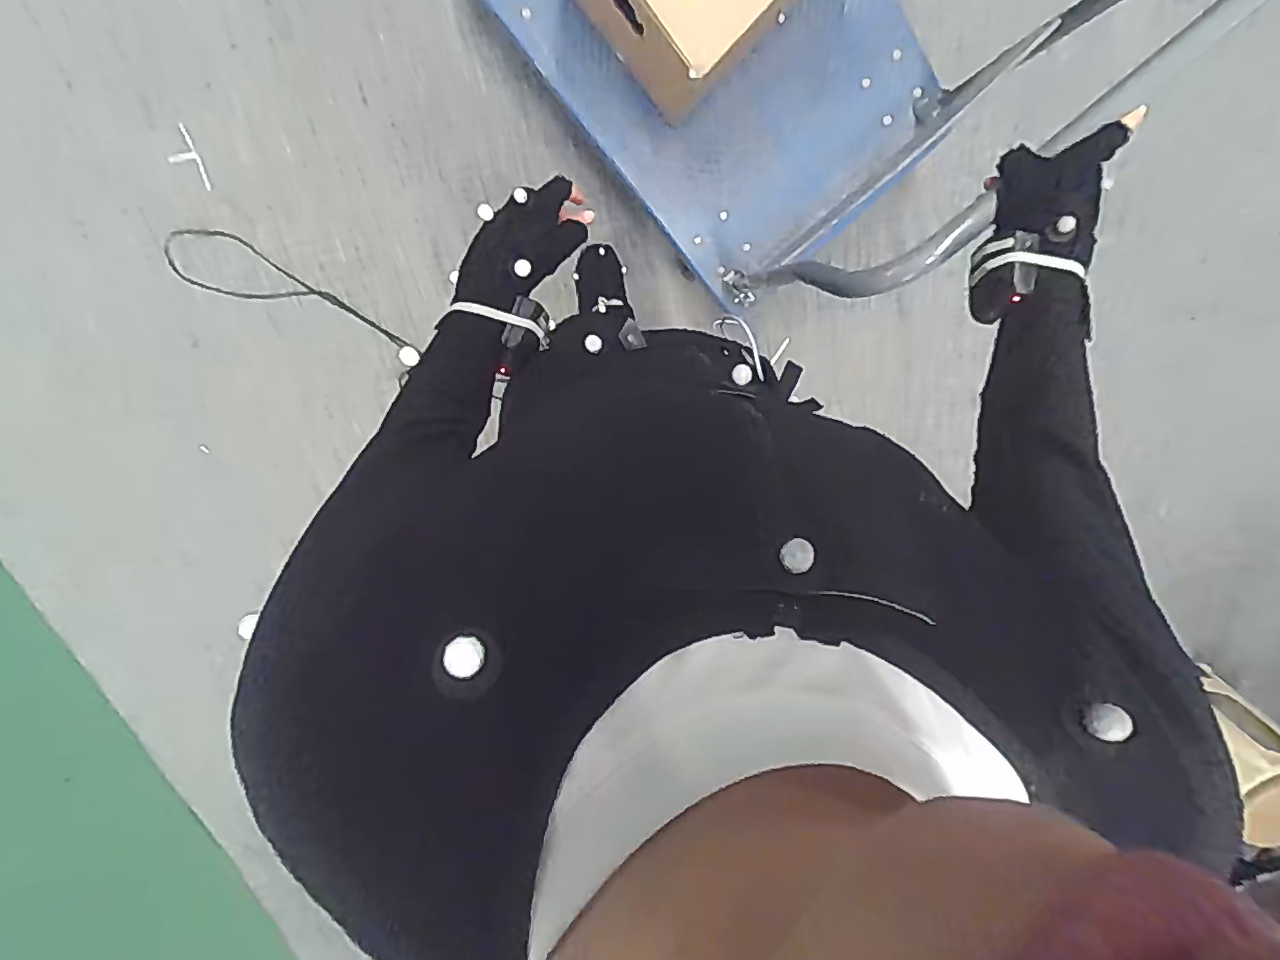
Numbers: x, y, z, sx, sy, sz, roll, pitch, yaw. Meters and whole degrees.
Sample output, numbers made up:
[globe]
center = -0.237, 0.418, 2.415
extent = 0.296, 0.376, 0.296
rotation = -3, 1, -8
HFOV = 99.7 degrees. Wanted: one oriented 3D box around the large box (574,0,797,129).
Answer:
[large box]
center = 0.122, -0.863, 0.843
extent = 0.408, 0.320, 0.320
rotation = -43, 107, 14
